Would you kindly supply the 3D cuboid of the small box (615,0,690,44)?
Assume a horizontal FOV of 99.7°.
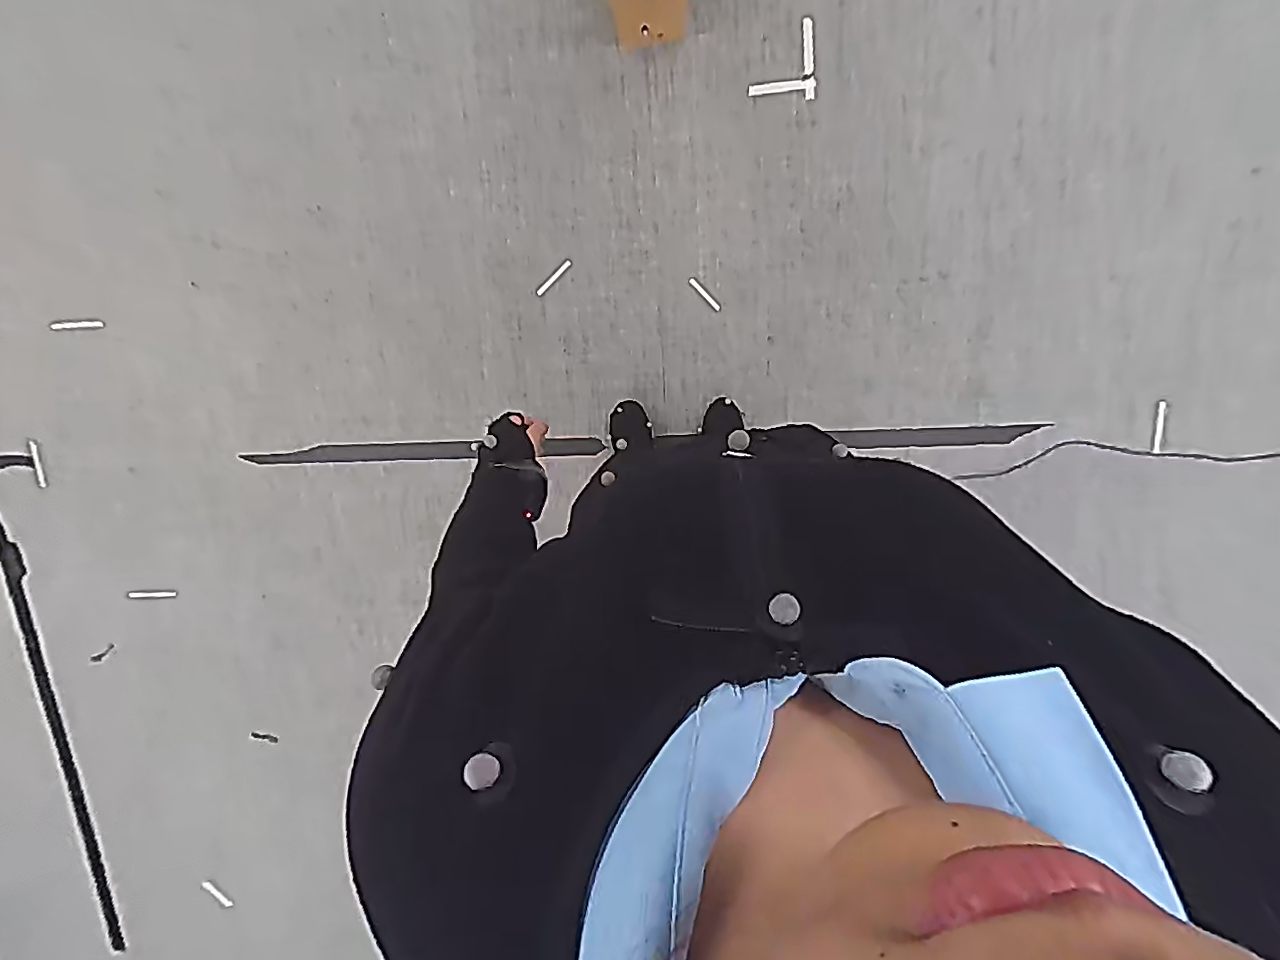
[{"bbox_3d":[0.024,-1.127,1.208,0.168,0.176,0.179,-4,101,4],"label":"small box"}]
